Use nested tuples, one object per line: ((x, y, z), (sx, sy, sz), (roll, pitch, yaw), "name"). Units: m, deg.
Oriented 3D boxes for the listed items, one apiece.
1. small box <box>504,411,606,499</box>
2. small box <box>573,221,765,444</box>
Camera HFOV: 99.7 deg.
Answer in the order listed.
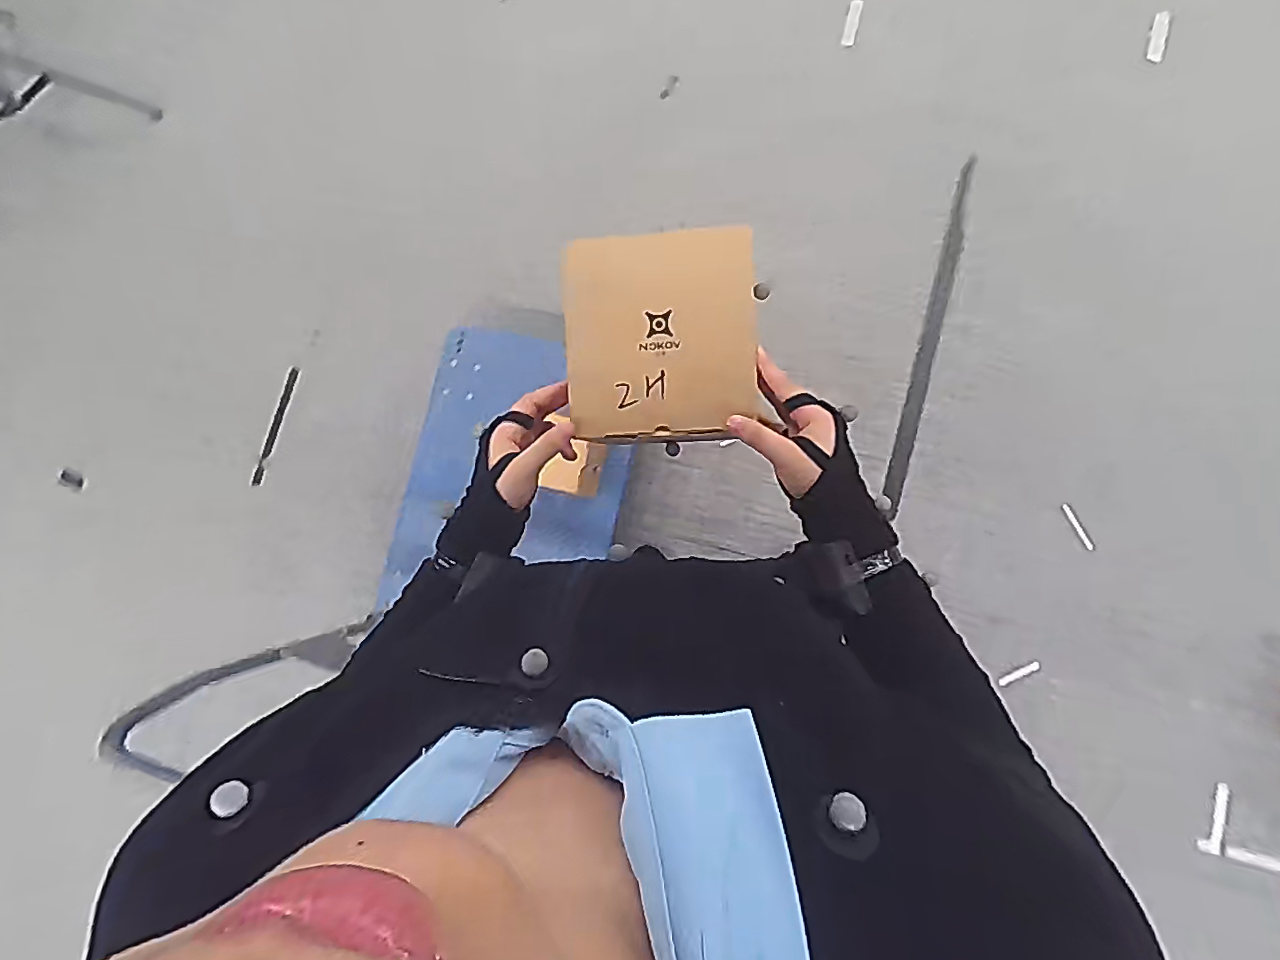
((-0.197, -0.054, 1.298), (0.179, 0.176, 0.168), (12, 85, 9), "small box")
((0.033, -0.129, 0.537), (0.168, 0.176, 0.179), (-1, 91, 9), "small box")
